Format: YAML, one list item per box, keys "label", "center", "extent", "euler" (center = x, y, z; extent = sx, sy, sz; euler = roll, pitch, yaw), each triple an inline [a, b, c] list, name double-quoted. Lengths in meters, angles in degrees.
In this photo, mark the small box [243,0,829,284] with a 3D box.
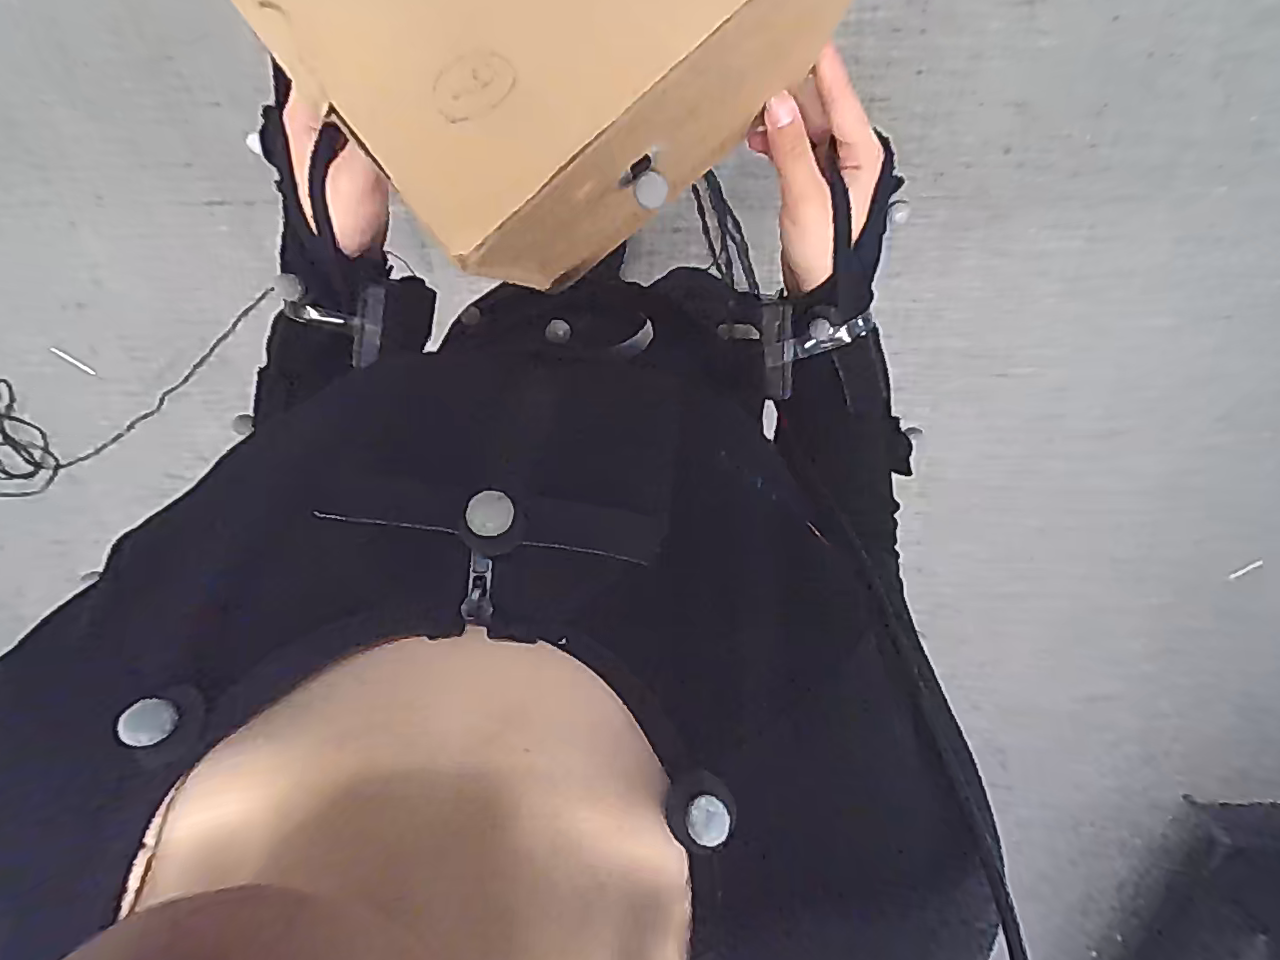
- label: "small box"
  center: [-0.034, -0.201, 0.223]
  extent: [0.179, 0.176, 0.168]
  euler: [-35, 101, 13]
